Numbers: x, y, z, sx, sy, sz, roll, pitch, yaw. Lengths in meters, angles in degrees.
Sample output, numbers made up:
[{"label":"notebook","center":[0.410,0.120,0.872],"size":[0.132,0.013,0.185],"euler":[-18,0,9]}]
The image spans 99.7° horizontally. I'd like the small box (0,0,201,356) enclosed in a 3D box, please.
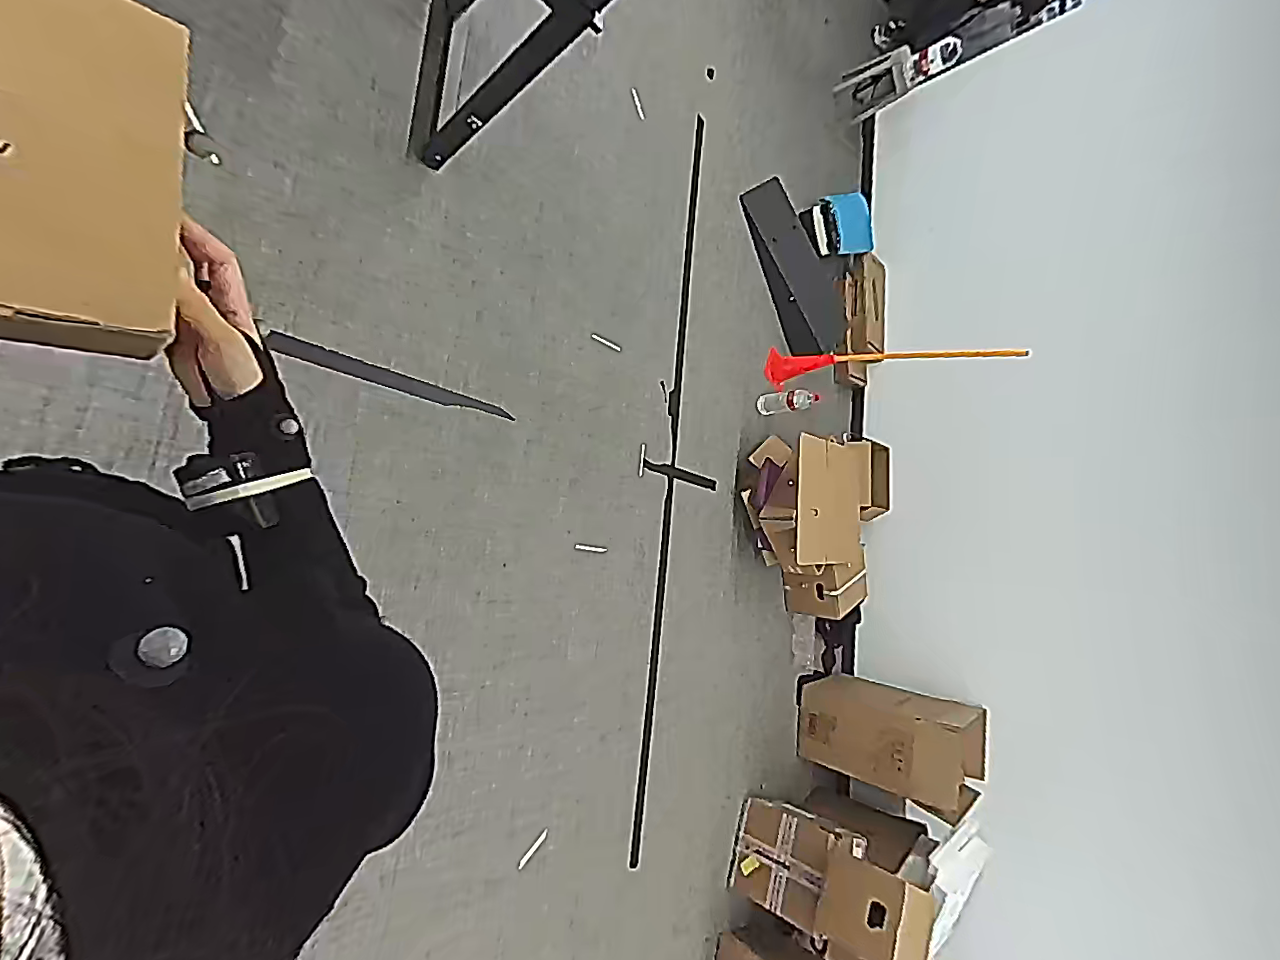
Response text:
[{"label":"small box","center":[-0.376,-0.178,0.312],"size":[0.168,0.176,0.179],"euler":[2,93,-46]}]
